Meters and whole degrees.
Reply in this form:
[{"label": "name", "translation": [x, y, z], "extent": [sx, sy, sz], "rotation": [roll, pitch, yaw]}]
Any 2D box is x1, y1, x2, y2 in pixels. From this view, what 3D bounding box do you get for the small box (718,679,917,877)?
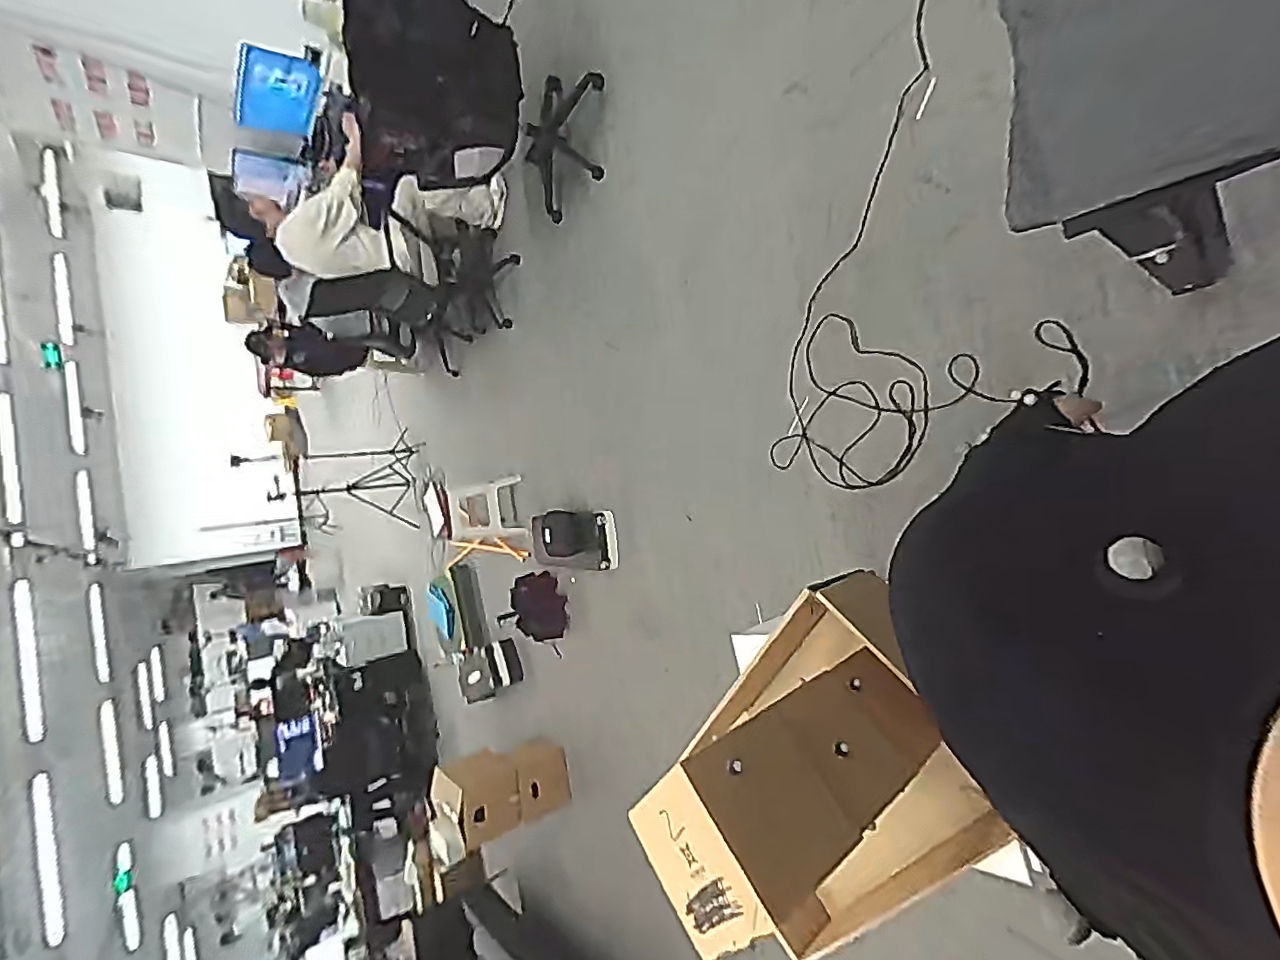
[{"label": "small box", "translation": [0.253, 0.415, 0.784], "extent": [0.179, 0.176, 0.168], "rotation": [49, 131, 32]}]
